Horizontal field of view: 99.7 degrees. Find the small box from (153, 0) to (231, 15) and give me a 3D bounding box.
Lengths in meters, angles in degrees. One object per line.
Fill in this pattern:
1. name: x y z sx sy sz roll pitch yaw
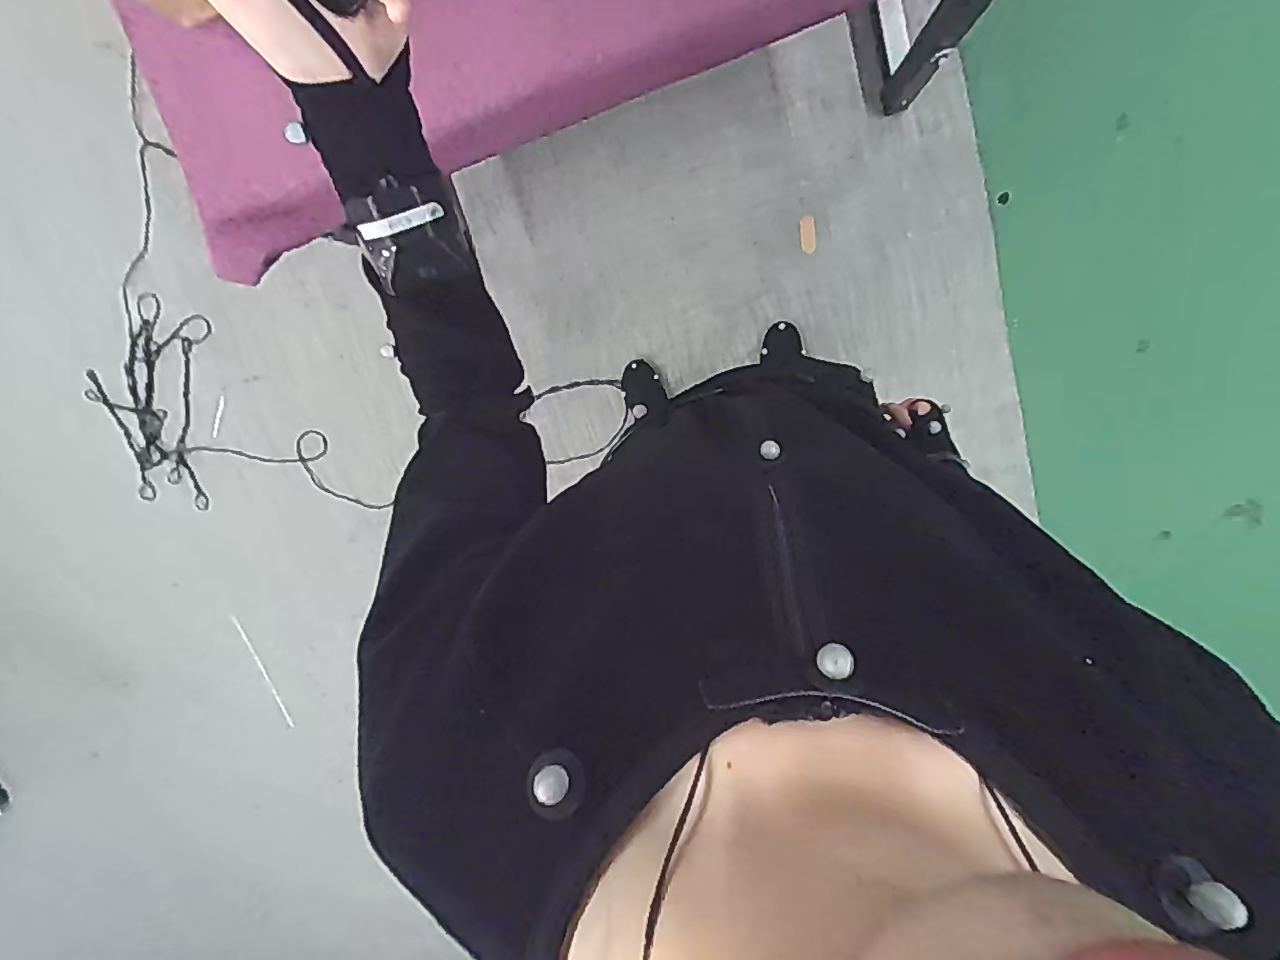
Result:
1. small box: -0.554 -0.677 0.608 0.168 0.176 0.179 -12 102 12
